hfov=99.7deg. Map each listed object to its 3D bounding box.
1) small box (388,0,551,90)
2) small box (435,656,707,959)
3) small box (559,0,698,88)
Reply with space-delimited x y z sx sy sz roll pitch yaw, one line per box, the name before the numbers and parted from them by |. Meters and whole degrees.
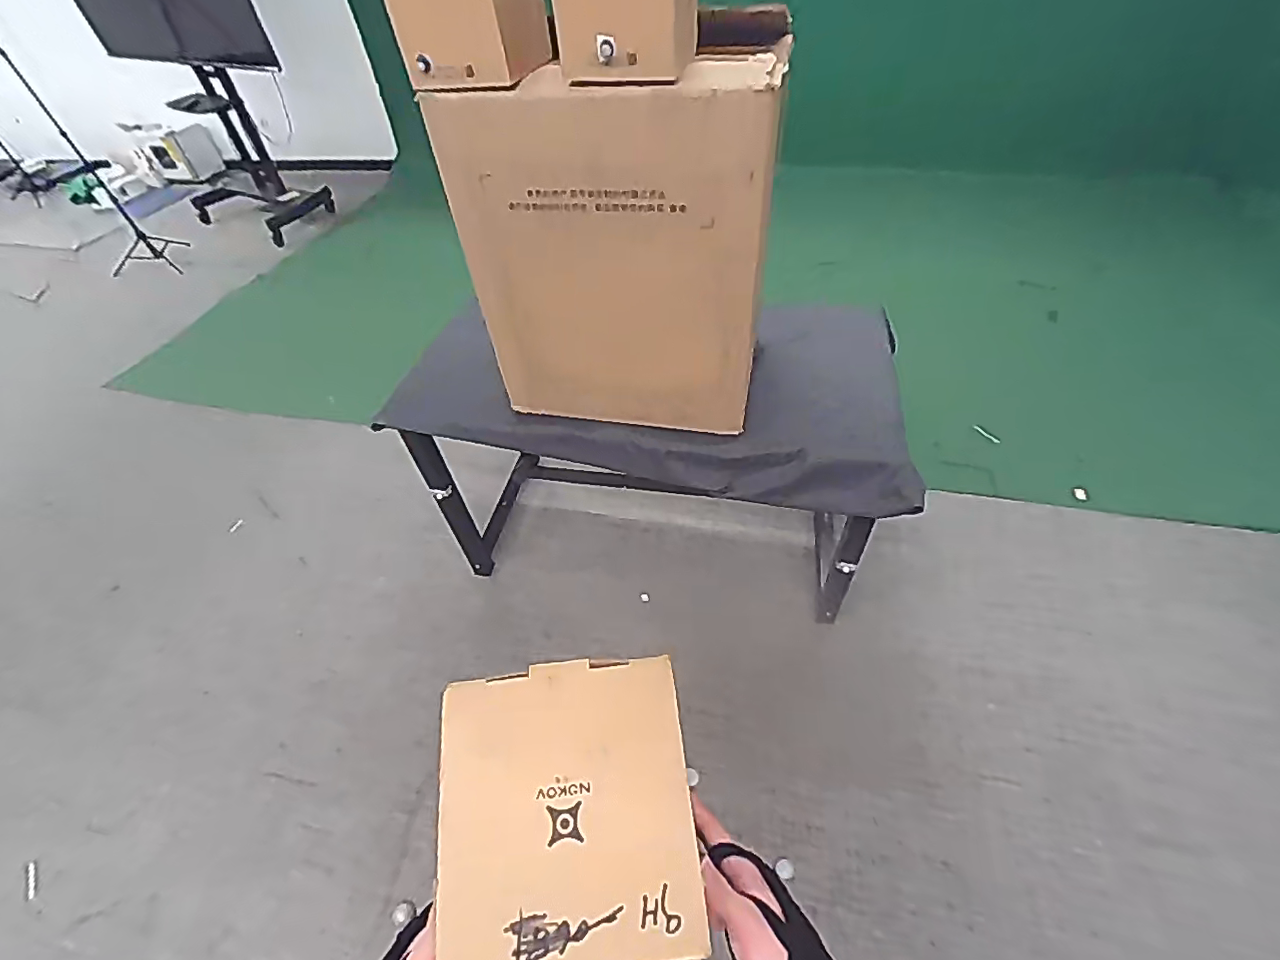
small box | -0.246 -0.690 0.794 0.168 0.176 0.179 8 49 14
small box | -0.048 0.249 0.429 0.168 0.176 0.179 -7 65 -2
small box | -0.012 -0.664 0.745 0.168 0.176 0.179 7 50 12
